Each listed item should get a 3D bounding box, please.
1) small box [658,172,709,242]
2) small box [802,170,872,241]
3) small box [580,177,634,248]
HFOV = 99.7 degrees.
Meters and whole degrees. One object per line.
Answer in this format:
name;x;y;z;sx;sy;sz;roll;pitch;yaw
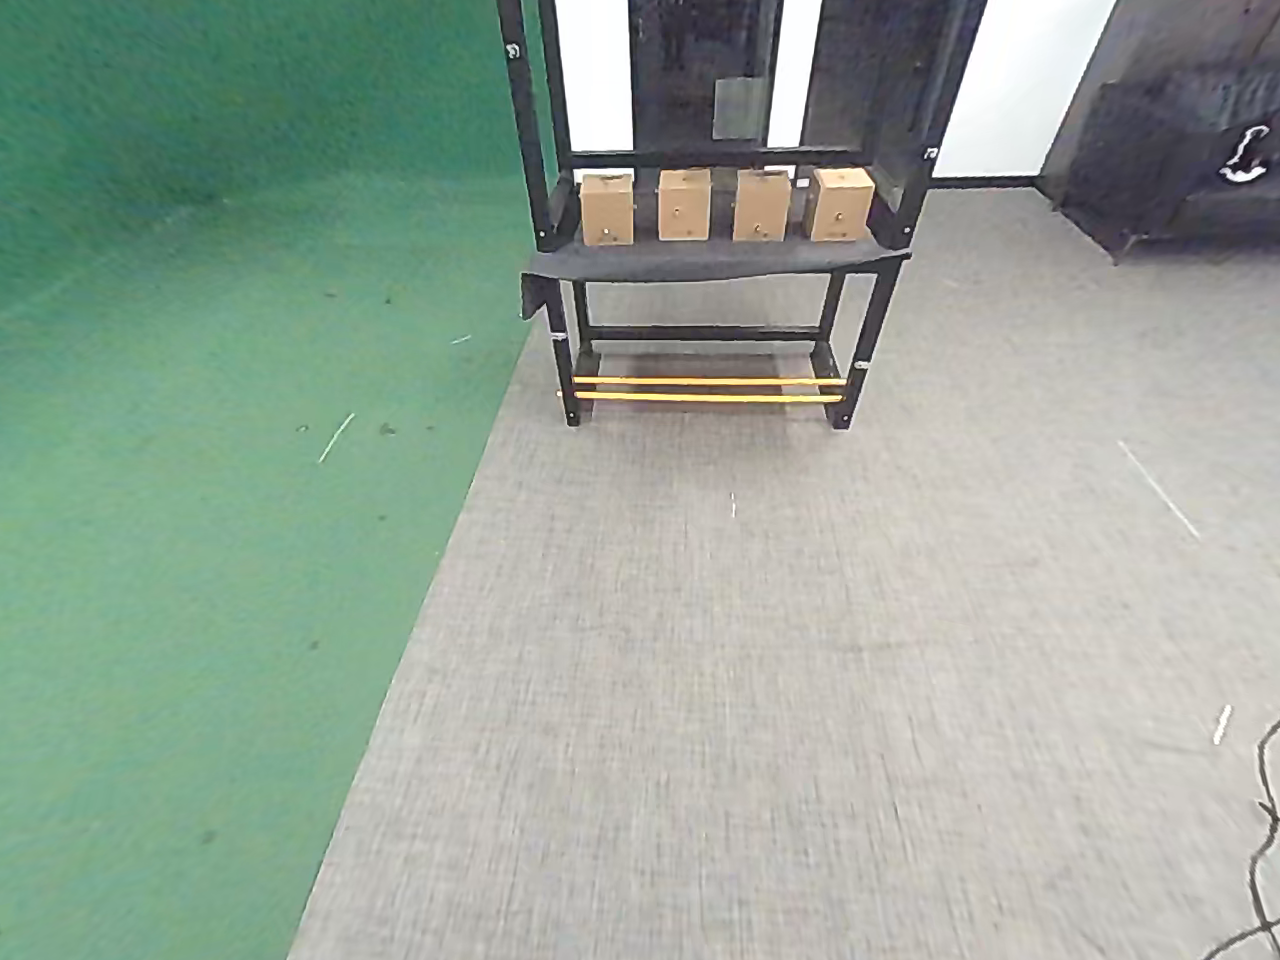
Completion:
small box;0.147;-0.914;1.815;0.168;0.176;0.179;2;46;4
small box;0.638;-0.895;1.769;0.168;0.176;0.179;1;45;3
small box;-0.106;-0.893;1.804;0.168;0.176;0.179;-2;47;1
